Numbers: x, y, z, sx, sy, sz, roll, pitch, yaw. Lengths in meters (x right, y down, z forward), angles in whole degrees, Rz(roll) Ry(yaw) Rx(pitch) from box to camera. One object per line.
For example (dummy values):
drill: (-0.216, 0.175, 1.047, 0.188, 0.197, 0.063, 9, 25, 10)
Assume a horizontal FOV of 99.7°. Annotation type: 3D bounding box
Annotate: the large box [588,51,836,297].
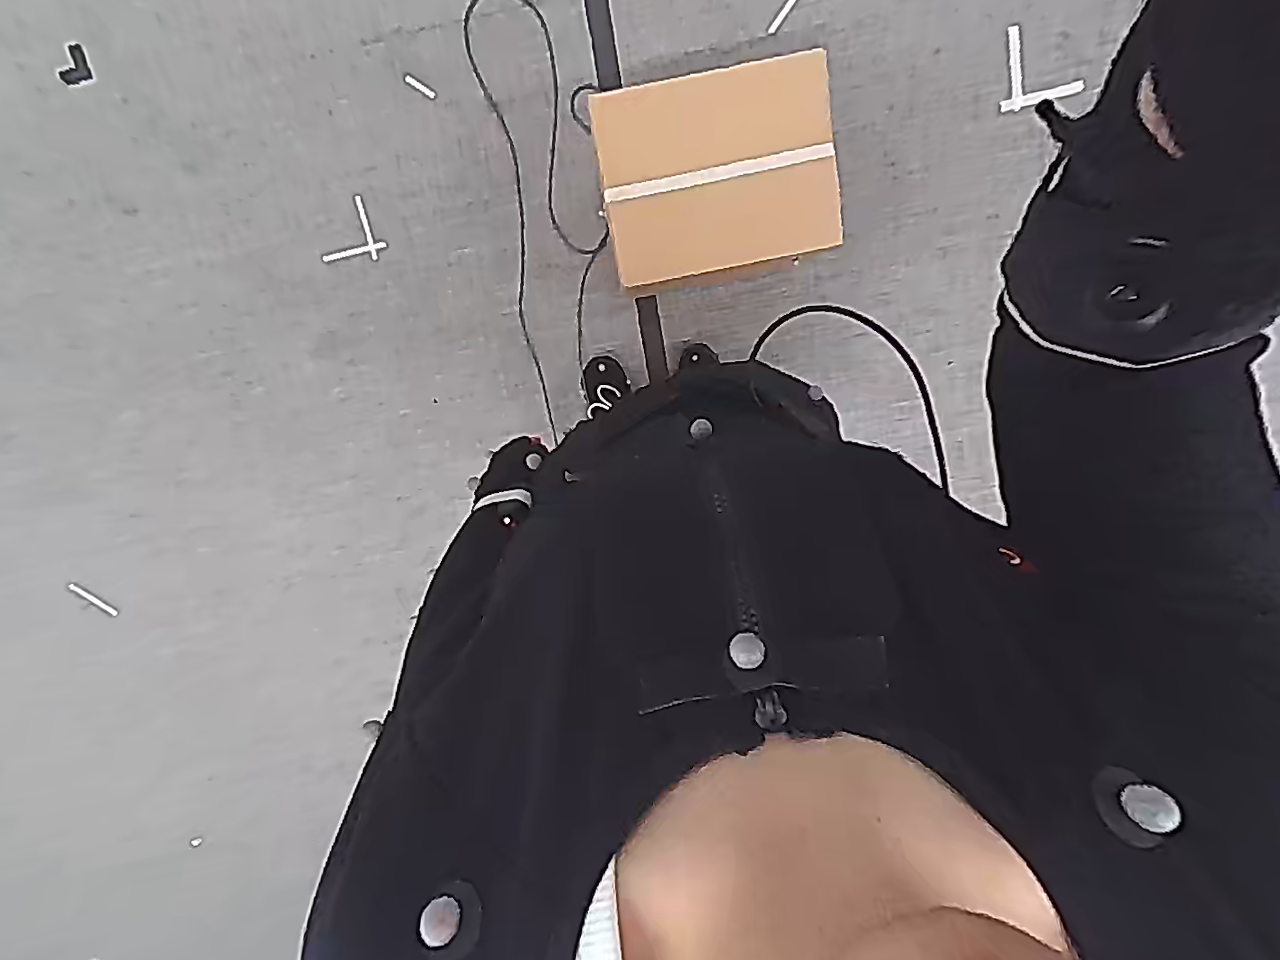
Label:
large box: (0.131, -0.572, 1.087, 0.408, 0.320, 0.320, -11, 104, 2)
